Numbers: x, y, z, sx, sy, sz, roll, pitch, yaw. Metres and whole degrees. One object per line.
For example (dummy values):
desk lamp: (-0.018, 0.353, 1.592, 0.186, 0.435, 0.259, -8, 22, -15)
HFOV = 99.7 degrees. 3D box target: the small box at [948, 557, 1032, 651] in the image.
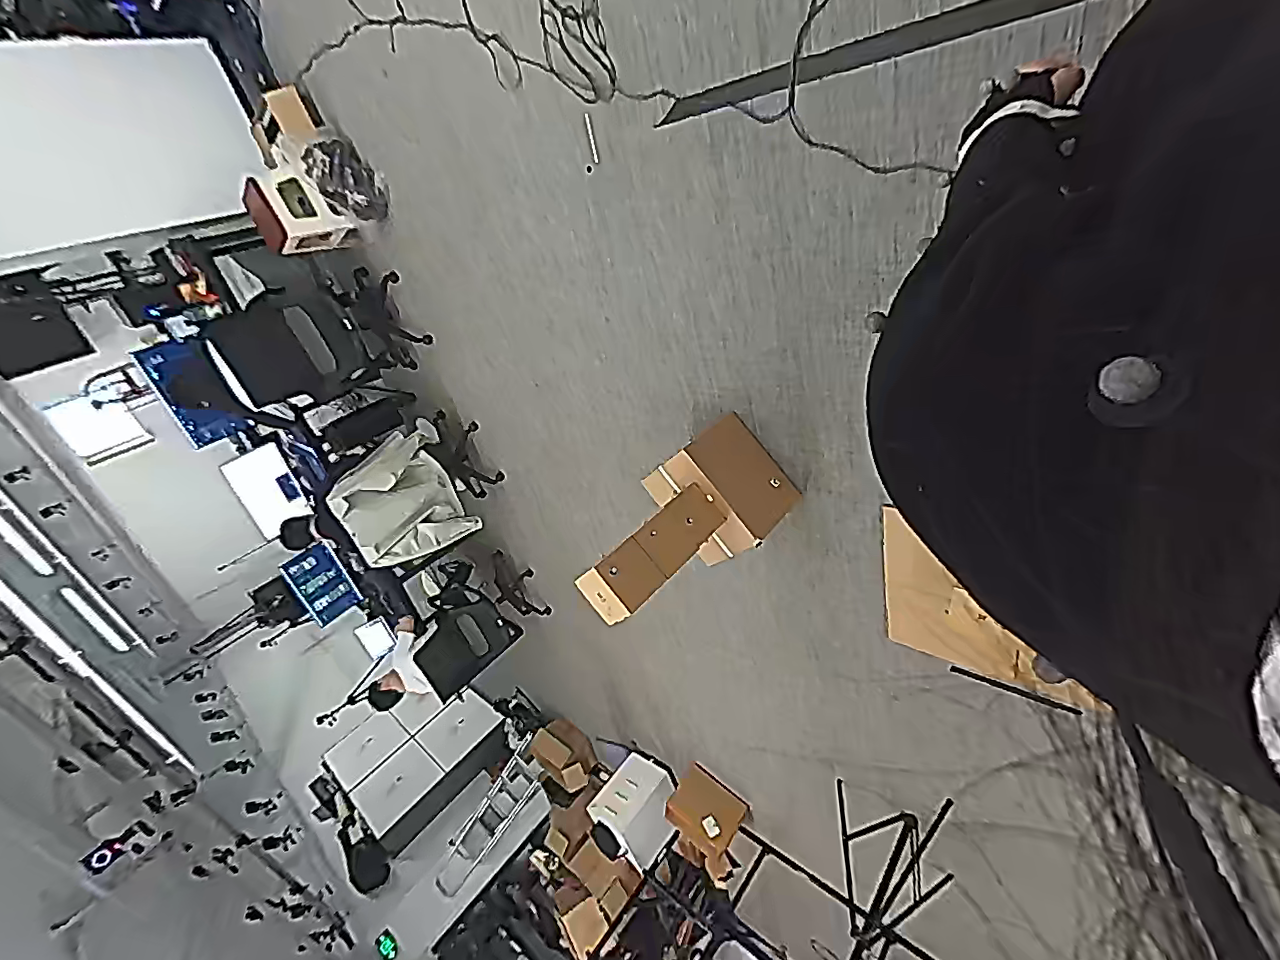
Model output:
small box: (1.014, 0.350, 1.565, 0.168, 0.176, 0.179, 16, 131, 36)

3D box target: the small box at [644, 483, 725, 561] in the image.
small box: (0.155, 0.139, 1.829, 0.179, 0.176, 0.168, 51, 144, 4)

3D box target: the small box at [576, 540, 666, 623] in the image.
small box: (-0.056, 0.300, 1.634, 0.179, 0.176, 0.168, 51, 145, 3)
